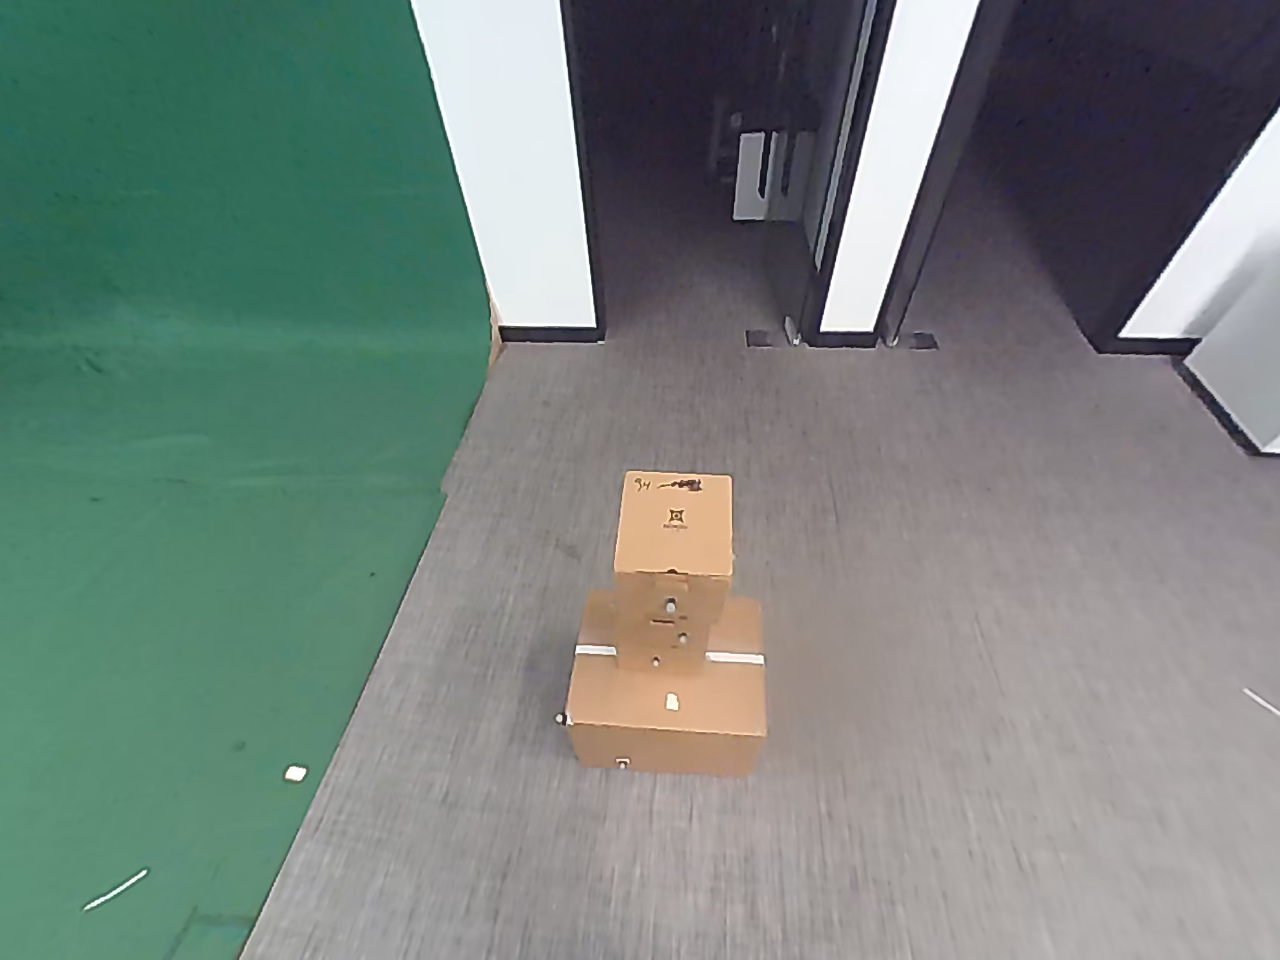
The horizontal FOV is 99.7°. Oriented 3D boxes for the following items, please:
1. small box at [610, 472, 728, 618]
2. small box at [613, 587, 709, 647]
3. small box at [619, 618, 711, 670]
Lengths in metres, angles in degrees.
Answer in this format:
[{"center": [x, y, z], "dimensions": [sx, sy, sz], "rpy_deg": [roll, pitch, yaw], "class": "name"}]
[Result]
[{"center": [0.051, 0.107, 0.860], "dimensions": [0.168, 0.176, 0.179], "rpy_deg": [3, 55, 5], "class": "small box"}, {"center": [0.046, 0.196, 0.997], "dimensions": [0.168, 0.176, 0.179], "rpy_deg": [3, 54, 4], "class": "small box"}, {"center": [0.054, 0.290, 1.129], "dimensions": [0.179, 0.176, 0.168], "rpy_deg": [1, 55, 4], "class": "small box"}]
